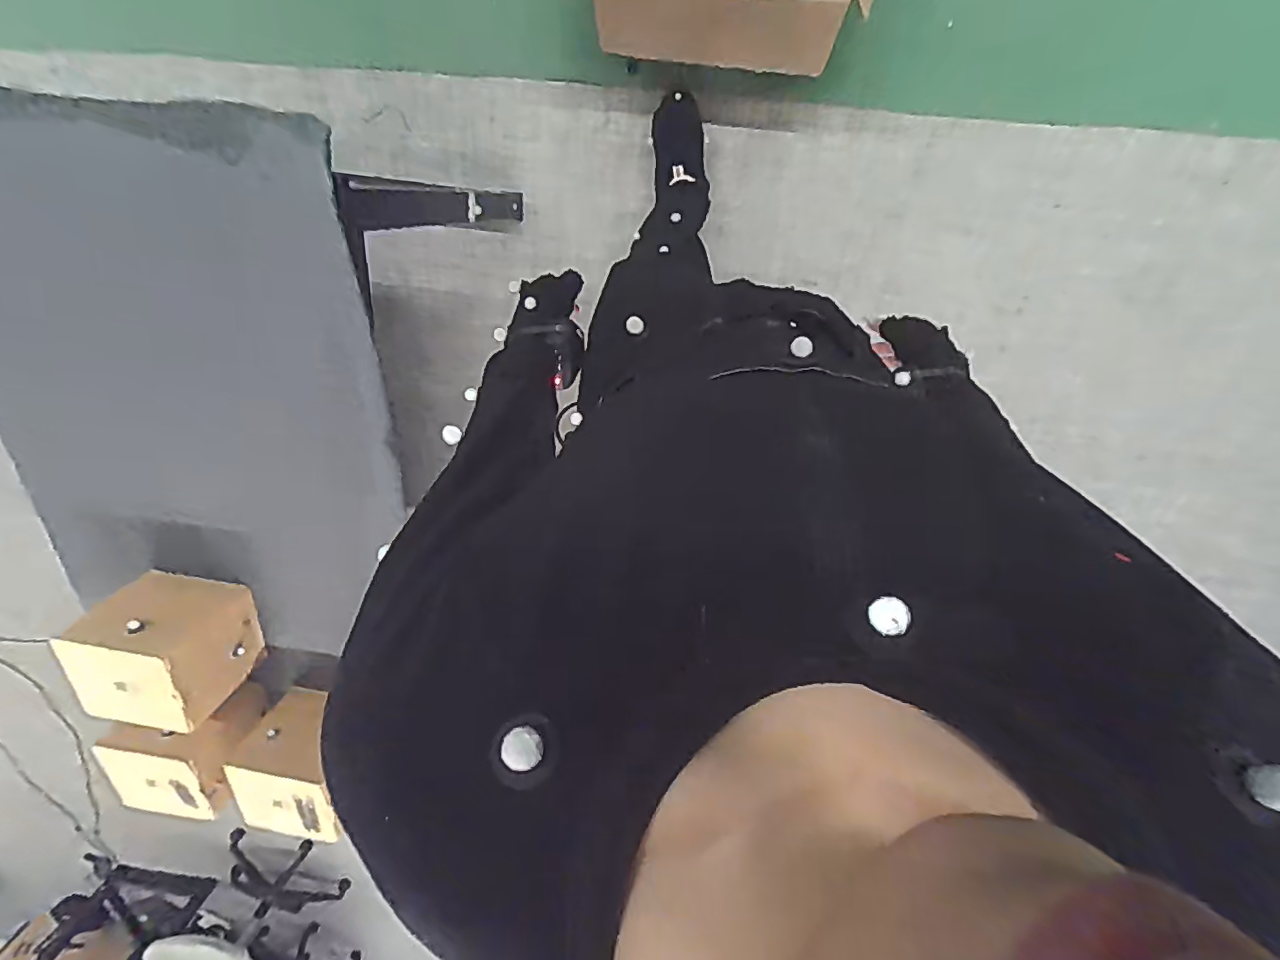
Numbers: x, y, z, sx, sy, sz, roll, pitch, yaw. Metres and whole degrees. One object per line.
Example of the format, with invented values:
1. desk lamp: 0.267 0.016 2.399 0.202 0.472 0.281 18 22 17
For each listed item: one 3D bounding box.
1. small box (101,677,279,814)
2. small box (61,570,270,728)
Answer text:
1. small box: -0.806 0.475 0.997 0.179 0.176 0.168 7 117 4
2. small box: -0.757 0.268 0.886 0.179 0.176 0.168 9 118 2
